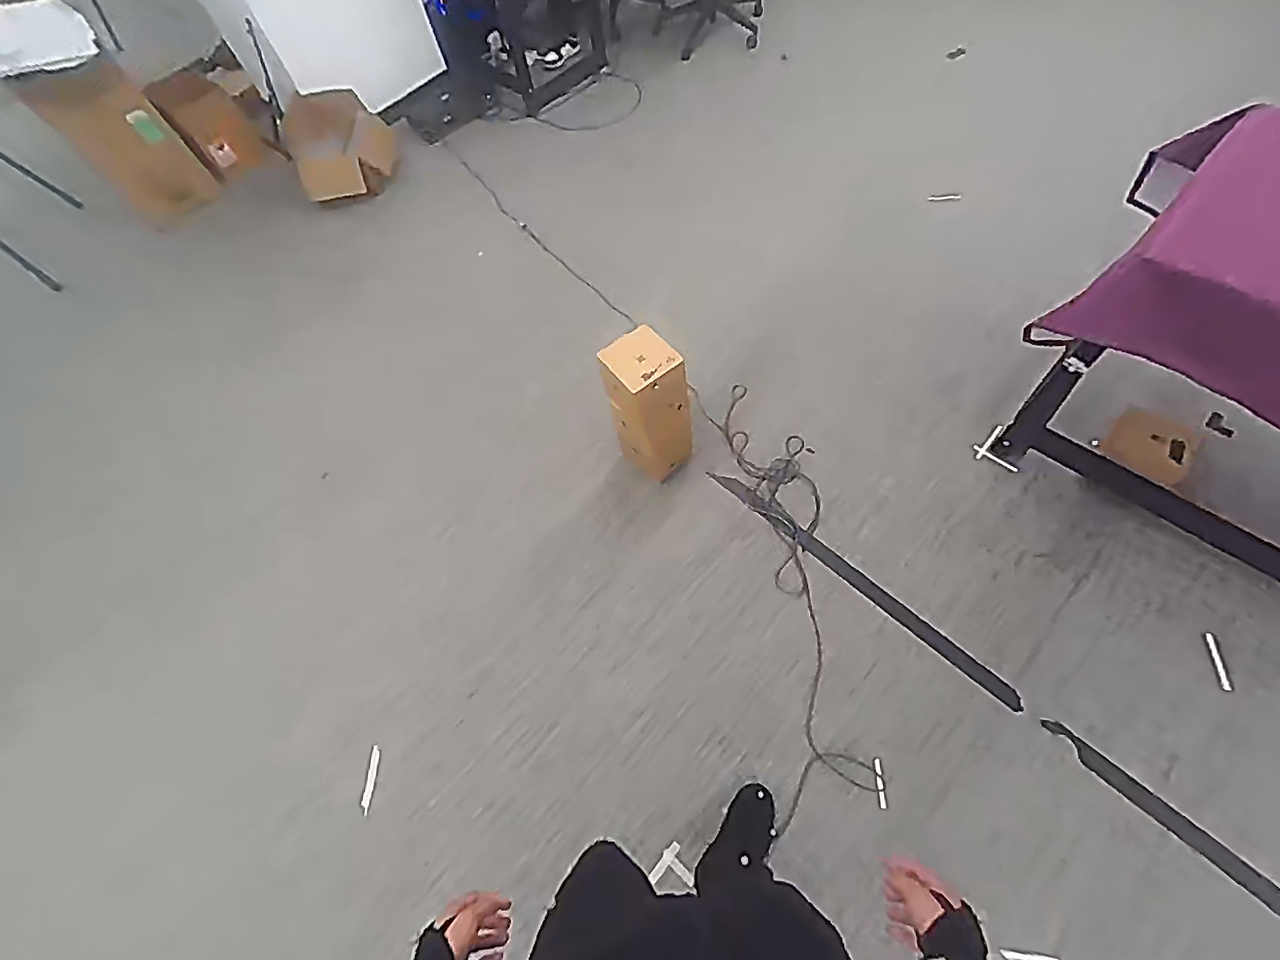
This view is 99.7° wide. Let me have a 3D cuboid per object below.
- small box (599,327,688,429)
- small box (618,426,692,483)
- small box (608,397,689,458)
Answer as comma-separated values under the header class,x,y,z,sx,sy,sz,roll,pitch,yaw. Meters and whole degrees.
class,x,y,z,sx,sy,sz,roll,pitch,yaw
small box,0.013,-0.271,1.463,0.168,0.176,0.179,-35,62,-11
small box,0.053,-0.121,1.750,0.168,0.176,0.179,-43,65,-15
small box,0.034,-0.197,1.608,0.179,0.176,0.168,-42,64,-14
